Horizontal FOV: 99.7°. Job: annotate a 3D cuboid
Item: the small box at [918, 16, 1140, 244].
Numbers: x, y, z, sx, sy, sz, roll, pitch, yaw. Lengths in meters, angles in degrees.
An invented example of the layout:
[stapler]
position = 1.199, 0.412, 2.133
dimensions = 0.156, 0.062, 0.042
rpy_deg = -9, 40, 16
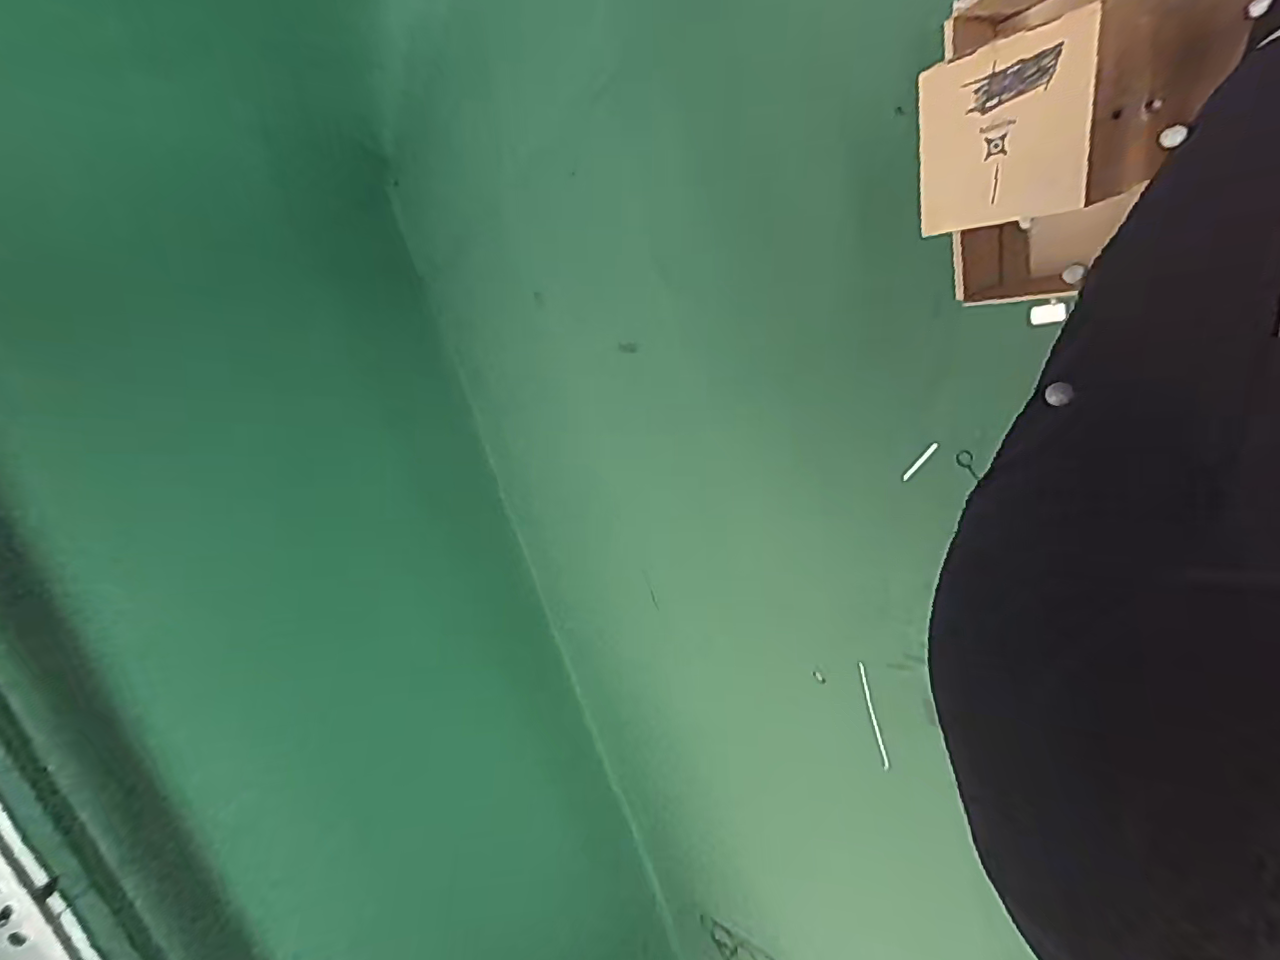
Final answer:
[small box]
position = 0.445, -0.389, 0.626
dimensions = 0.168, 0.176, 0.179
rpy_deg = 15, 125, 50
